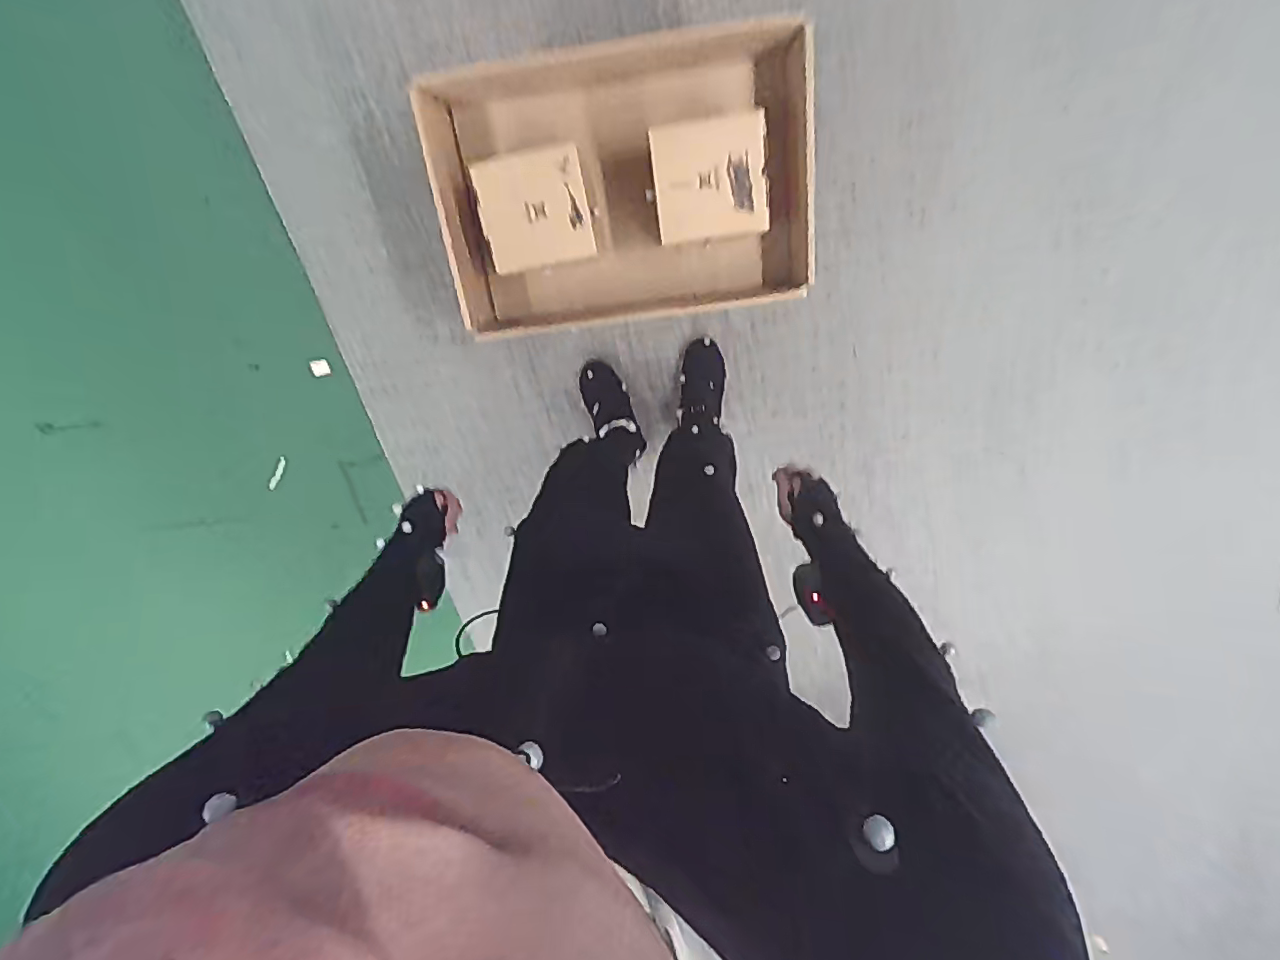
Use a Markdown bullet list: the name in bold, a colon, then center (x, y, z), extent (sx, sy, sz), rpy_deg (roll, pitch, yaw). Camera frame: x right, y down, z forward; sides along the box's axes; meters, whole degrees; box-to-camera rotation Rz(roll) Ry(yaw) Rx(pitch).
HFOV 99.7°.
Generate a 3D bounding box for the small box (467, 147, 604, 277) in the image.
- **small box**: center (-0.168, -0.449, 0.932), extent (0.179, 0.176, 0.168), rpy_deg (-8, 111, 6)
